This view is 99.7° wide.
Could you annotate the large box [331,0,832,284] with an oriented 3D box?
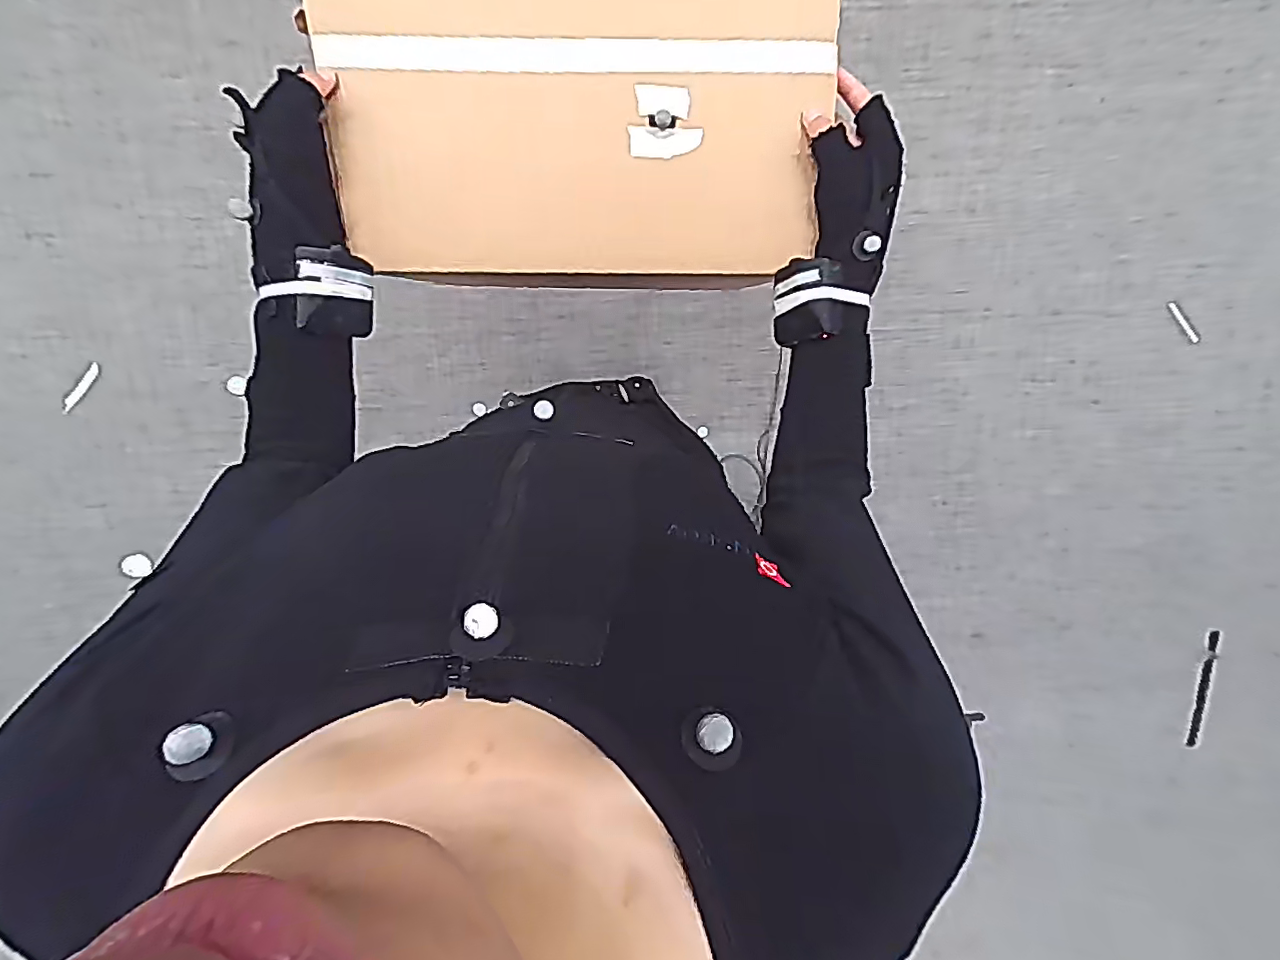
[{"bbox_3d":[-0.051,-0.385,0.581,0.408,0.320,0.320,-1,108,-2],"label":"large box"}]
